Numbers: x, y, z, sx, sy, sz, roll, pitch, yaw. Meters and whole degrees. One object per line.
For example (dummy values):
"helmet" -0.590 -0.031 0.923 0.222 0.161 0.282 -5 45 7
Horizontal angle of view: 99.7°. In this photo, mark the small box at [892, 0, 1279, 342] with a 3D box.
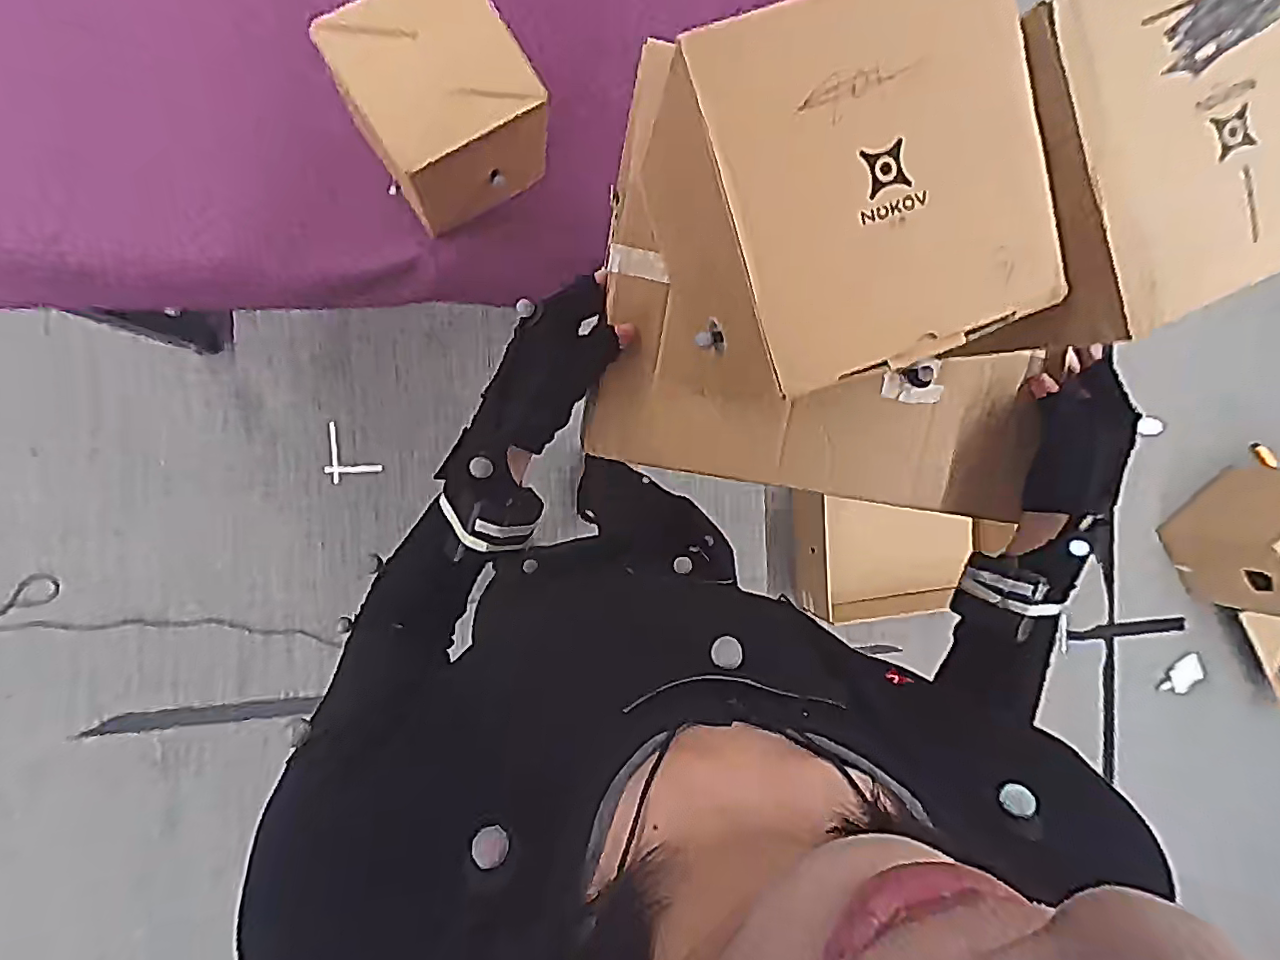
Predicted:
"small box" 0.295 -0.206 0.345 0.168 0.176 0.179 -24 100 -1

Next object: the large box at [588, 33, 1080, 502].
"large box" 0.161 -0.176 0.585 0.408 0.320 0.320 8 99 -8

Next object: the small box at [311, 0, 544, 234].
"small box" -0.226 -0.429 0.623 0.179 0.176 0.168 -34 97 -8
